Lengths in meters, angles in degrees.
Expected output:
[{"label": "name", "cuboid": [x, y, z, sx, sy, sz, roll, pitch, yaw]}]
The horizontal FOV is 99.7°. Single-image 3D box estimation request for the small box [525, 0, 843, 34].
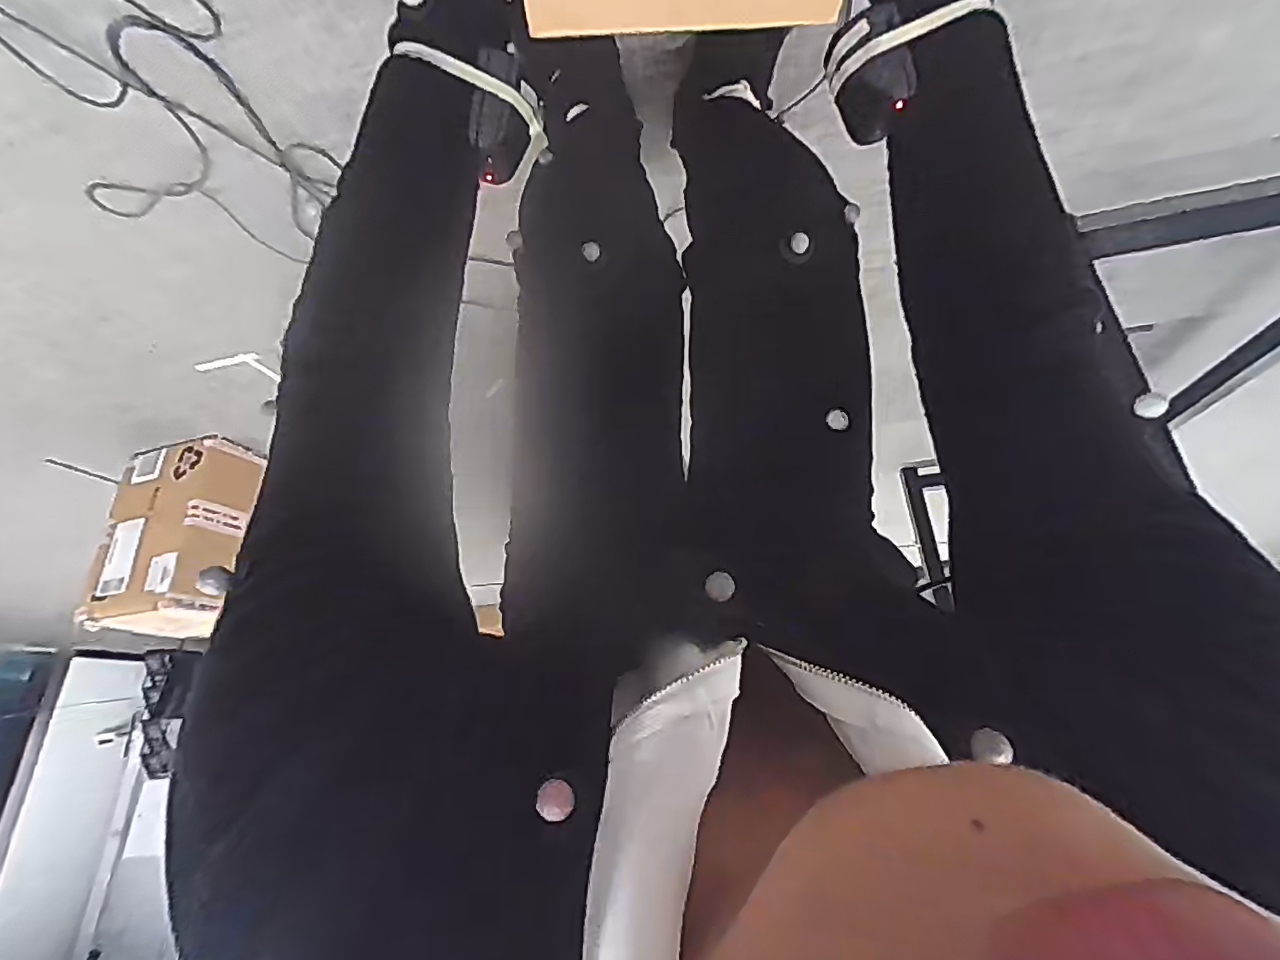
[{"label": "small box", "cuboid": [0.020, -0.346, 0.237, 0.168, 0.176, 0.179, -1, 158, 0]}]
